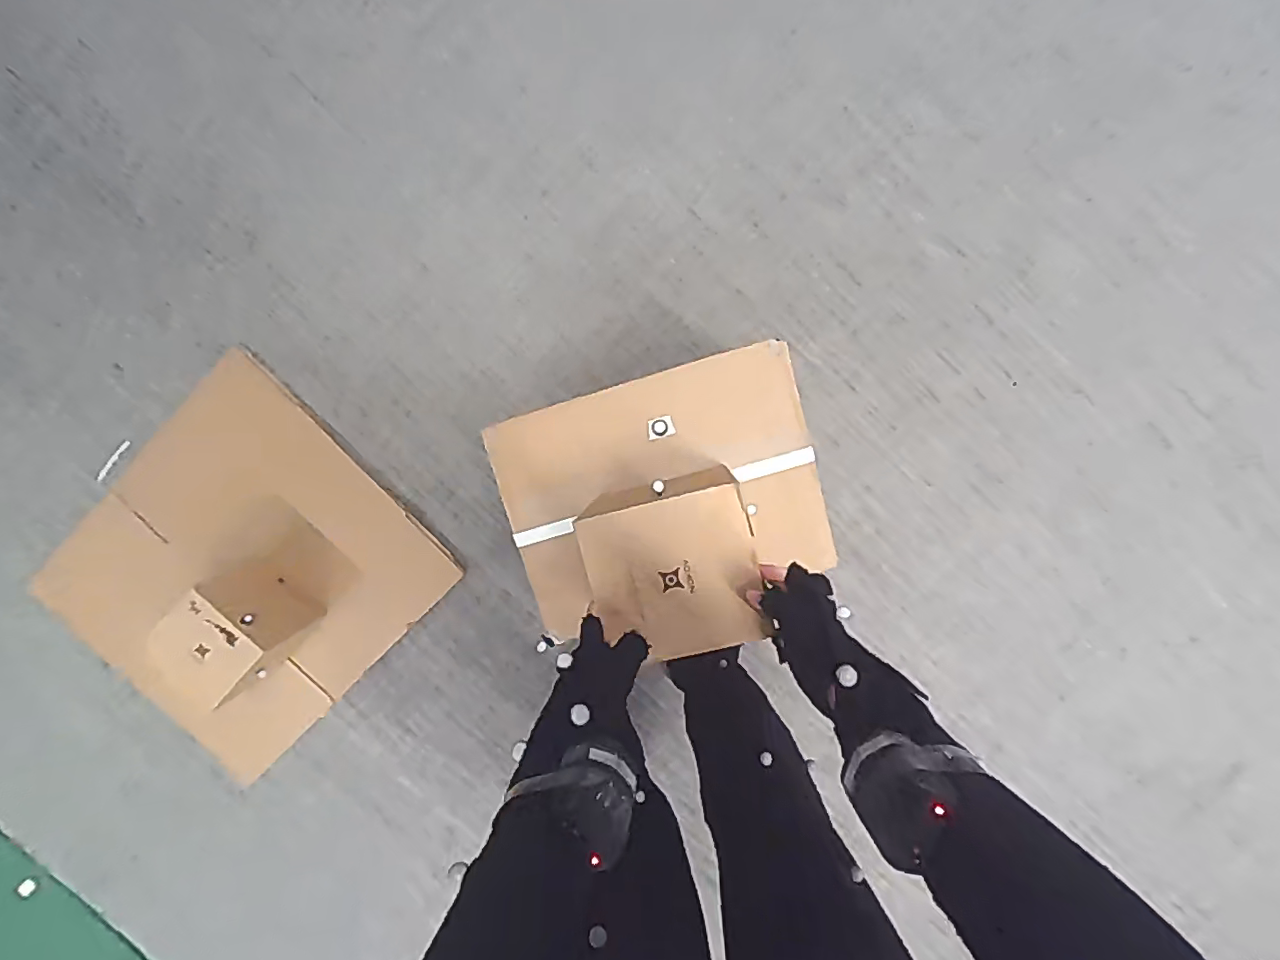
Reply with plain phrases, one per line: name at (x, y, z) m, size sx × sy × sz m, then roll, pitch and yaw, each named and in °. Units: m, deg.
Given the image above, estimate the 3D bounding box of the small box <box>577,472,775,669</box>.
small box at (0.043, 0.094, 0.638) m, size 0.179 × 0.176 × 0.168 m, roll -15°, pitch 95°, yaw 7°

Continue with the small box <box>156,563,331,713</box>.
small box at (-0.730, 0.286, 1.016) m, size 0.168 × 0.176 × 0.179 m, roll 41°, pitch 100°, yaw -1°
